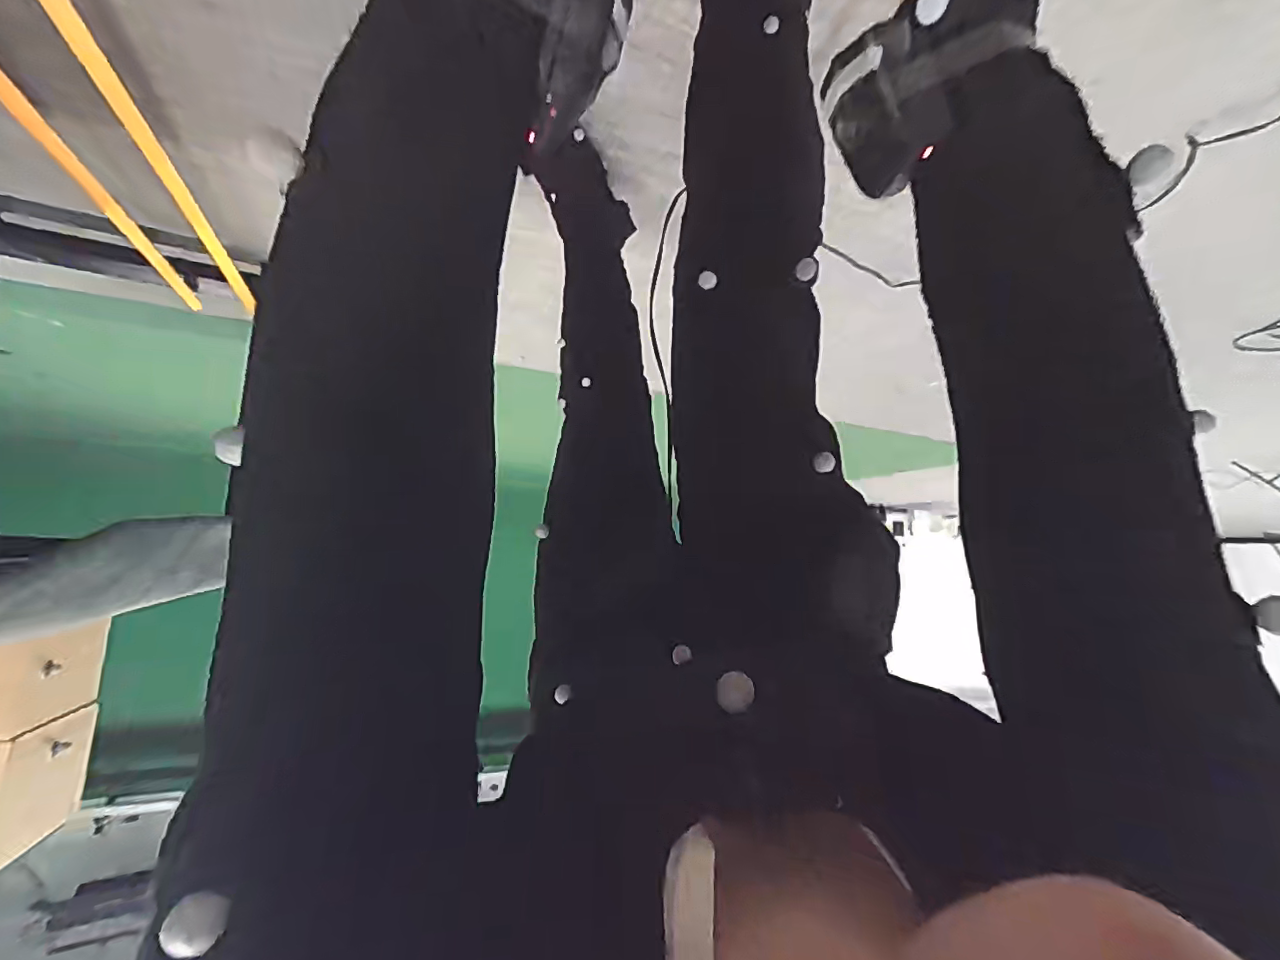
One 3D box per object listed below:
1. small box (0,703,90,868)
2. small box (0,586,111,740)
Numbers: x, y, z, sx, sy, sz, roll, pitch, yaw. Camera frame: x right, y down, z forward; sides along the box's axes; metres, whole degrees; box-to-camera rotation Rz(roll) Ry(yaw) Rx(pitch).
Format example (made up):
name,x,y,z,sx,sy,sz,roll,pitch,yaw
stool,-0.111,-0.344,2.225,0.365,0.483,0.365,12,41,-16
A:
name,x,y,z,sx,sy,sz,roll,pitch,yaw
small box,-0.878,0.395,0.699,0.168,0.176,0.179,7,171,-18
small box,-0.864,0.232,0.716,0.168,0.176,0.179,8,172,-17
